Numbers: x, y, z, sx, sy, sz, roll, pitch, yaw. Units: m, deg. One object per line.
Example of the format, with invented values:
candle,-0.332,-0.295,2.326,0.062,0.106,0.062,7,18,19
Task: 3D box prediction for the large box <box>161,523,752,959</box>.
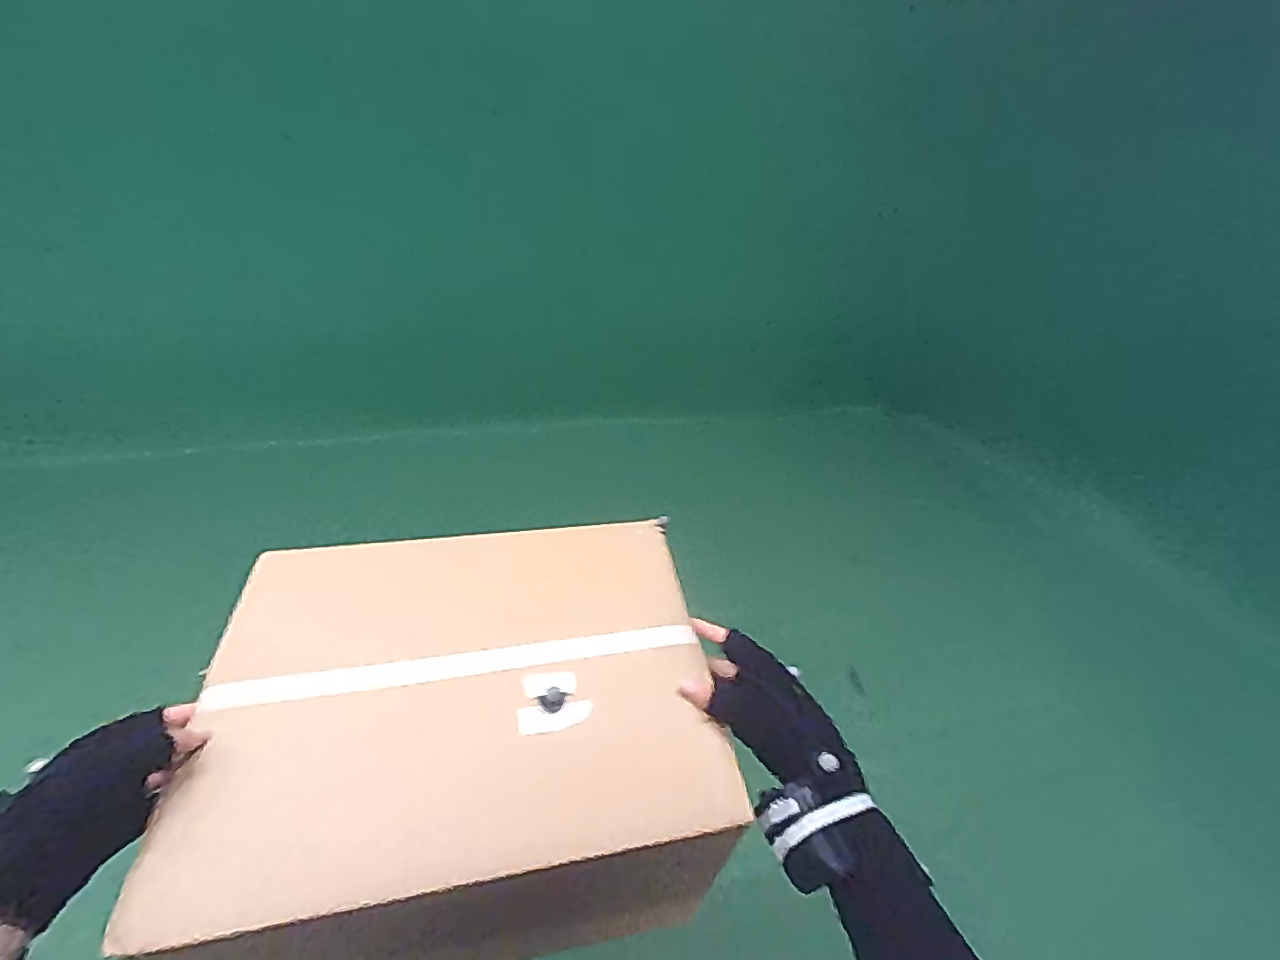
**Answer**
large box,-0.148,0.277,0.577,0.408,0.320,0.320,-4,42,-11
